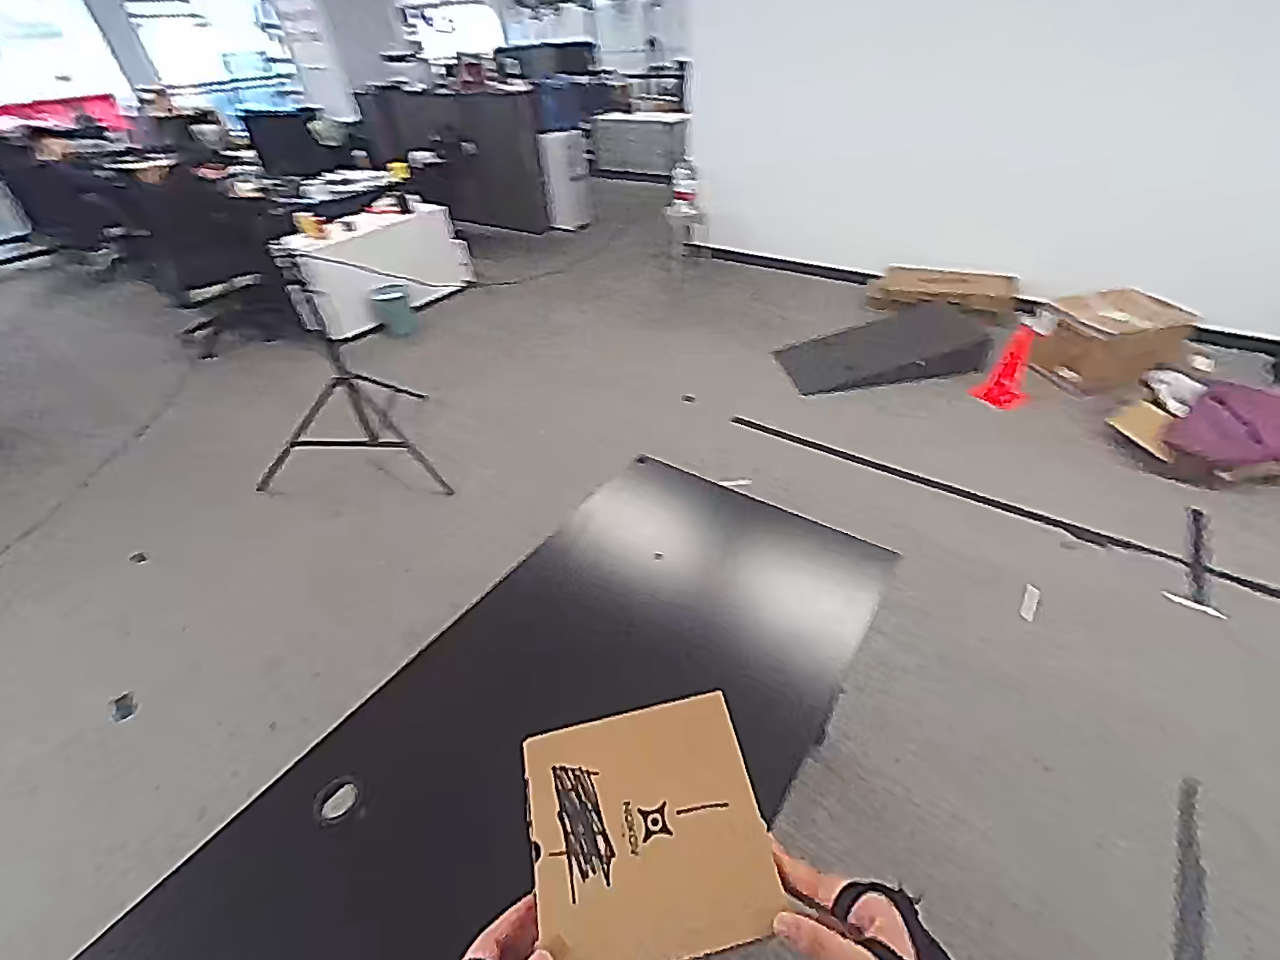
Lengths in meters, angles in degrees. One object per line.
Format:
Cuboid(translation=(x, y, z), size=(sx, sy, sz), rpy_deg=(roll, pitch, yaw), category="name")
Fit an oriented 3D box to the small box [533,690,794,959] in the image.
Cuboid(translation=(0.015, 0.311, 0.471), size=(0.179, 0.176, 0.168), rpy_deg=(-12, 48, -4), category="small box")
